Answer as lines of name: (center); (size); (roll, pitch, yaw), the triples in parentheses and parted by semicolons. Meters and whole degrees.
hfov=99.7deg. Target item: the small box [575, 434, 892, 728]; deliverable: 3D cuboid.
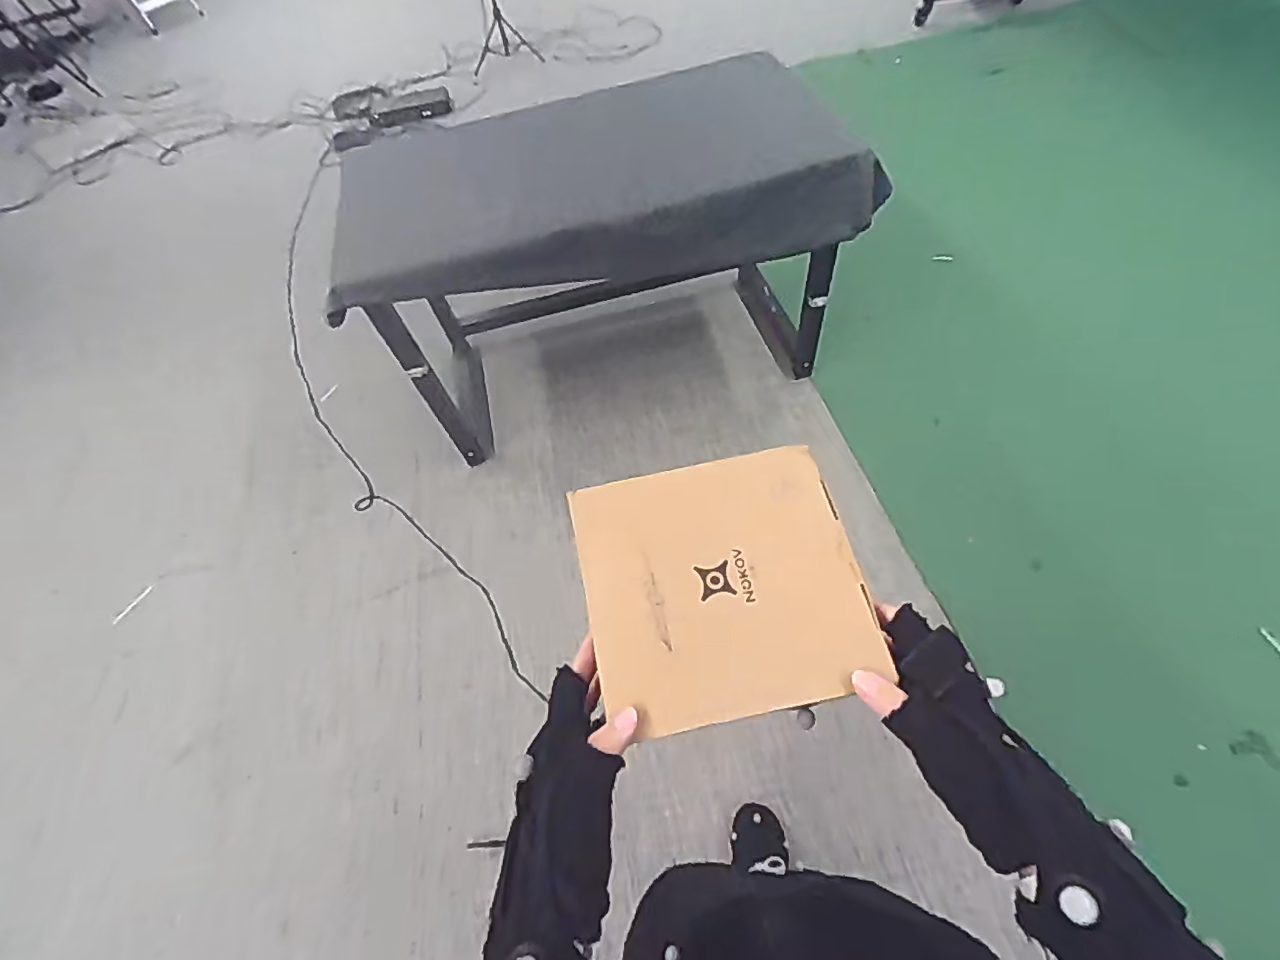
small box: (0.058, 0.089, 0.429); (0.179, 0.176, 0.168); (-13, 65, -2)
